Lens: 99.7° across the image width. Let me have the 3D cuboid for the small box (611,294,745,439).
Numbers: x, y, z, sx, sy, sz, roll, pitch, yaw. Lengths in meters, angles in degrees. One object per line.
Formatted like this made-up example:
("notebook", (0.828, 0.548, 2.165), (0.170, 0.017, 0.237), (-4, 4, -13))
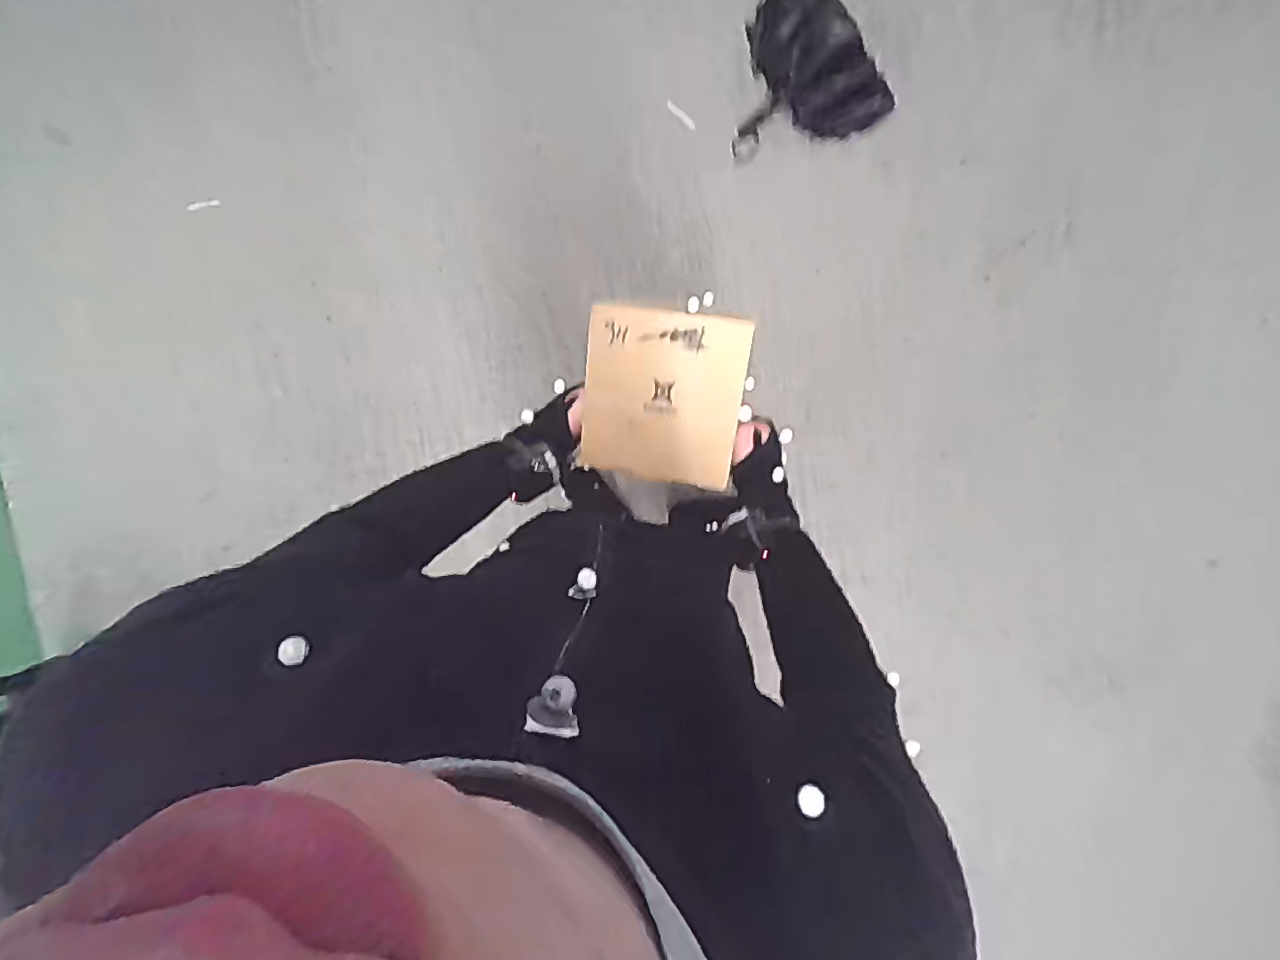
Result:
("small box", (0.061, -0.173, 0.792), (0.168, 0.176, 0.179), (8, 108, 8))
